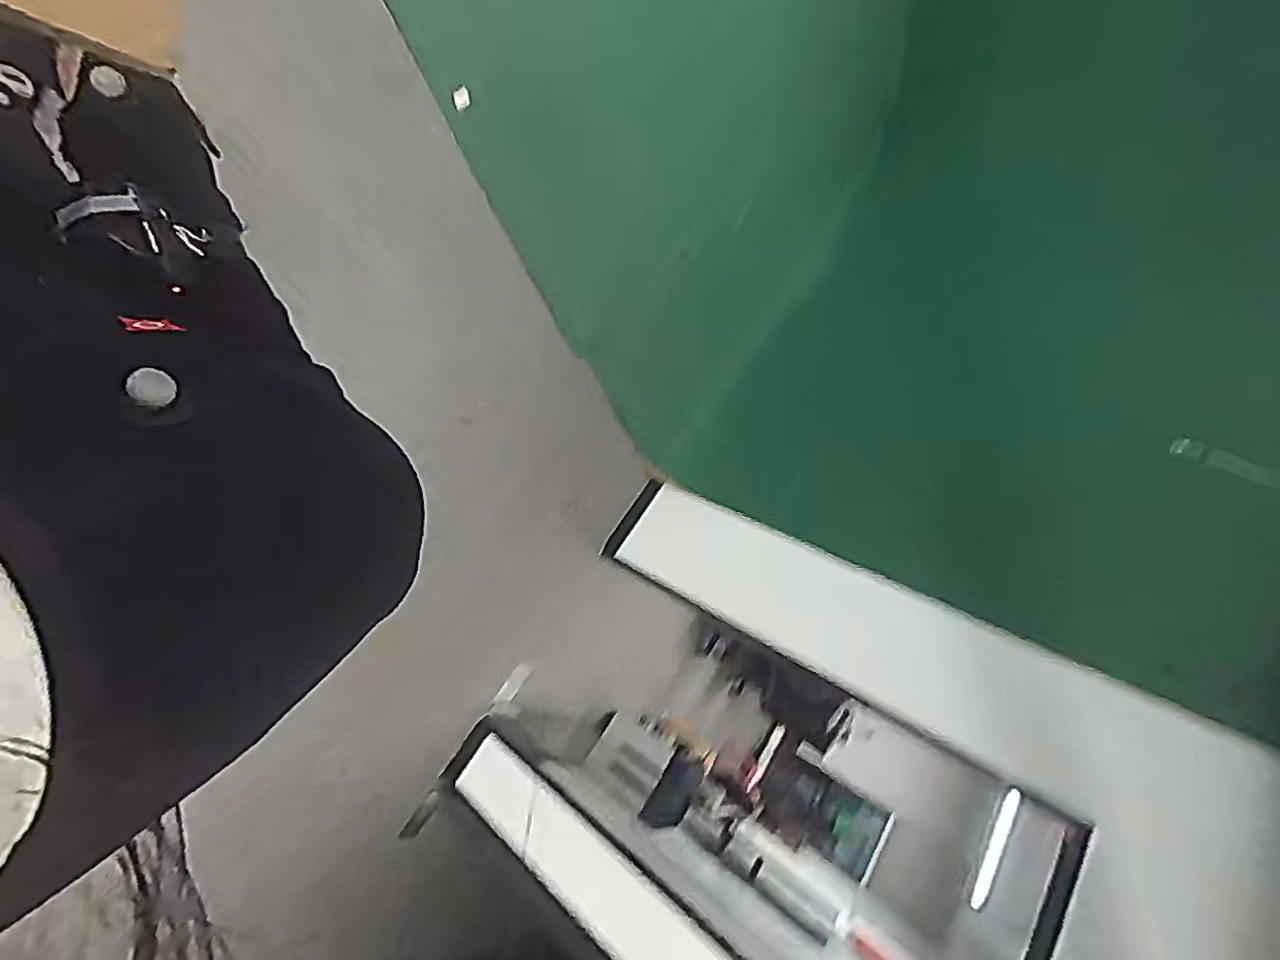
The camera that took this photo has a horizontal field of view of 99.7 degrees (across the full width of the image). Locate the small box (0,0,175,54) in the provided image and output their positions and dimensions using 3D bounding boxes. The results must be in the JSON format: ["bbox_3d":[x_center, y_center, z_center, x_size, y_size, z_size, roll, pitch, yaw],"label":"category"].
[{"bbox_3d":[-0.239,-0.238,0.118,0.179,0.176,0.168,-11,126,-53],"label":"small box"}]
